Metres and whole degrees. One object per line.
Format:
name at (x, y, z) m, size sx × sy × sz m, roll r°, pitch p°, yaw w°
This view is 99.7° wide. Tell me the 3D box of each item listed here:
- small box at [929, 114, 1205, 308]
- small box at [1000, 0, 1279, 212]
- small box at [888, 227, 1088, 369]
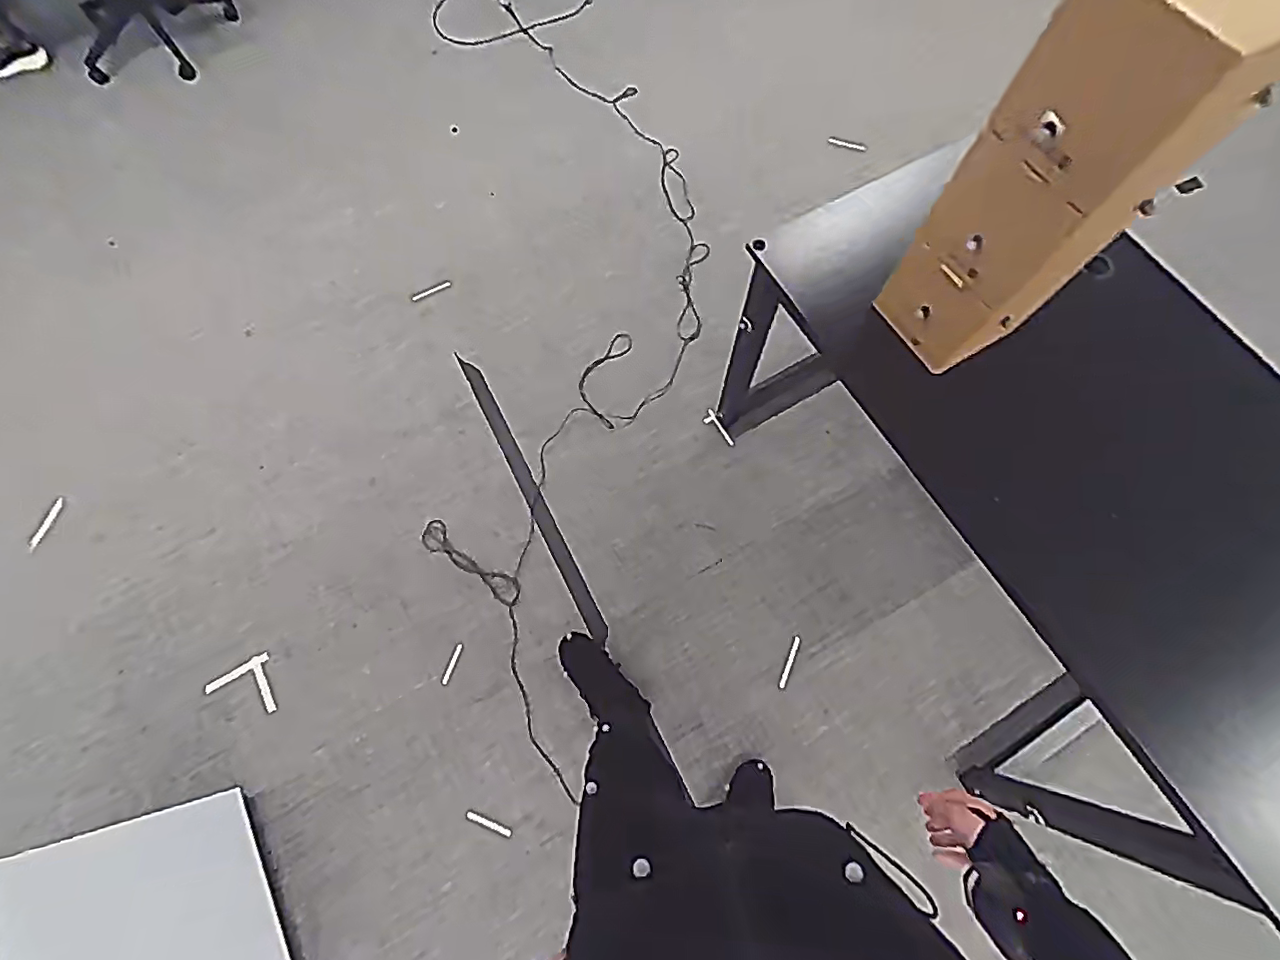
small box at (0.516, -0.357, 0.685) m, size 0.179 × 0.176 × 0.168 m, roll -29°, pitch 72°, yaw -8°
small box at (0.512, -0.409, 0.530) m, size 0.179 × 0.176 × 0.168 m, roll -30°, pitch 72°, yaw -8°
small box at (0.518, -0.304, 0.841) m, size 0.179 × 0.176 × 0.168 m, roll -30°, pitch 73°, yaw -8°
